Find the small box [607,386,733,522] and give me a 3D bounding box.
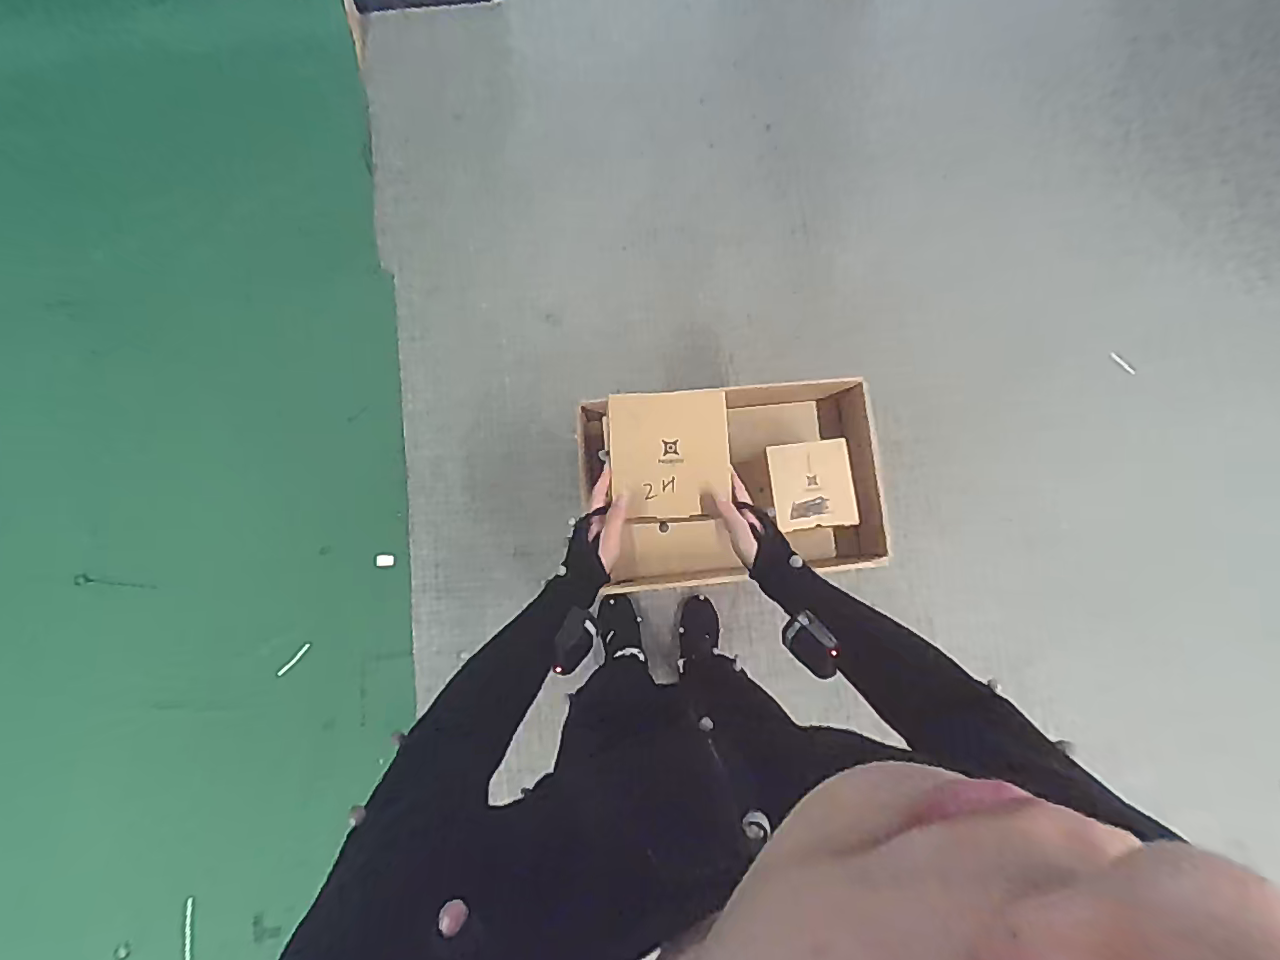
[{"bbox_3d":[0.035,-0.031,0.804,0.168,0.176,0.179,-2,84,-4],"label":"small box"}]
